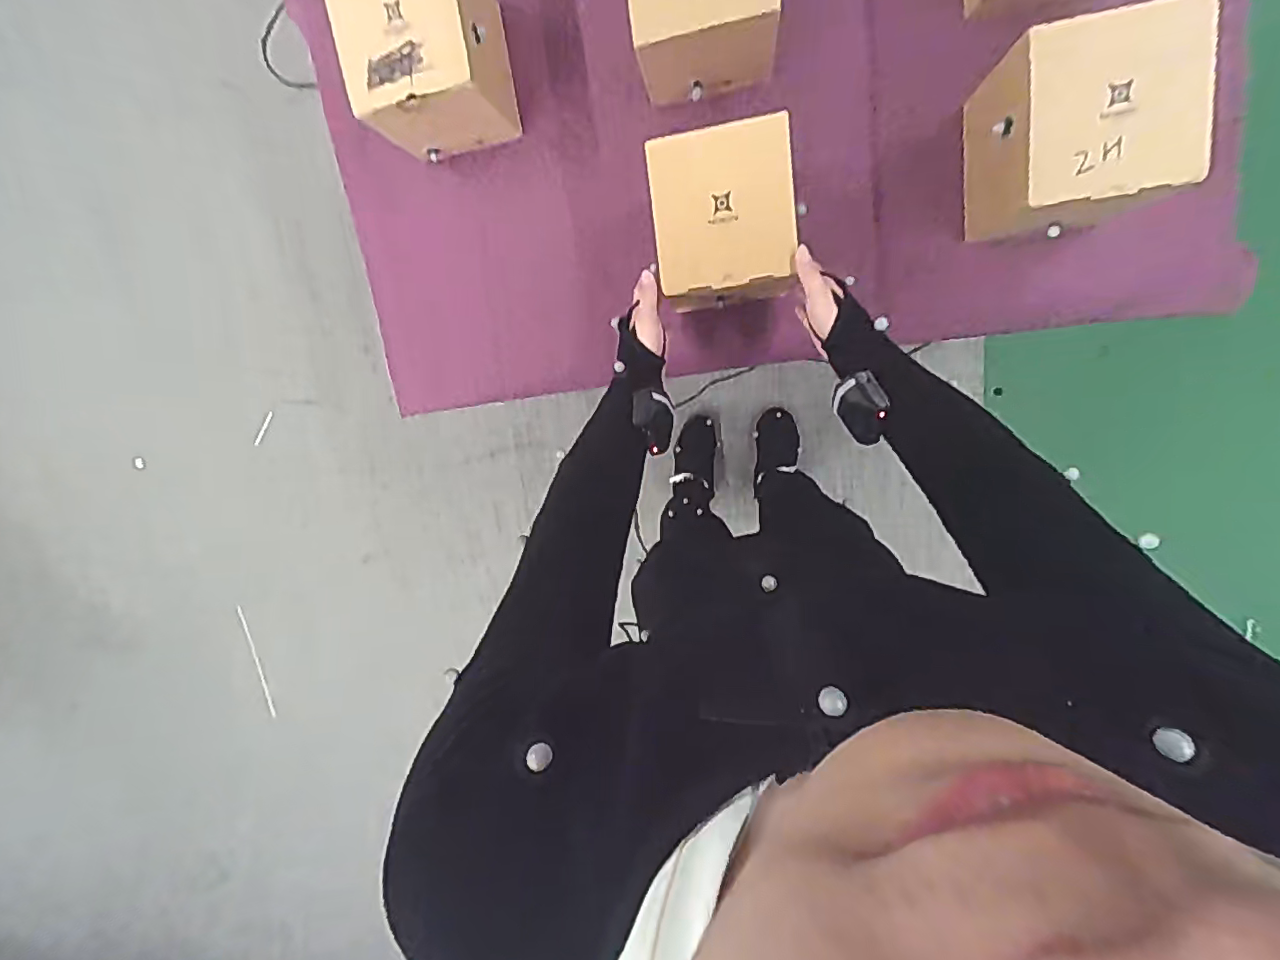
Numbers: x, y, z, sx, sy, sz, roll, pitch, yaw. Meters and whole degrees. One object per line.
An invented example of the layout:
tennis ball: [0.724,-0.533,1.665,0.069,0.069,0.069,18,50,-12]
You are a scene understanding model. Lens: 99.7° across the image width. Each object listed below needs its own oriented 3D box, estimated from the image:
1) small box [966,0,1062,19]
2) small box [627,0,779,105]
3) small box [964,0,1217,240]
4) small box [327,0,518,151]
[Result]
small box: [0.464,-0.654,0.575,0.168,0.176,0.179,-6,102,12]
small box: [0.073,-0.601,0.656,0.168,0.176,0.179,-5,102,11]
small box: [0.495,-0.398,0.624,0.168,0.176,0.179,-4,101,11]
small box: [-0.278,-0.567,0.720,0.168,0.176,0.179,-7,101,10]
